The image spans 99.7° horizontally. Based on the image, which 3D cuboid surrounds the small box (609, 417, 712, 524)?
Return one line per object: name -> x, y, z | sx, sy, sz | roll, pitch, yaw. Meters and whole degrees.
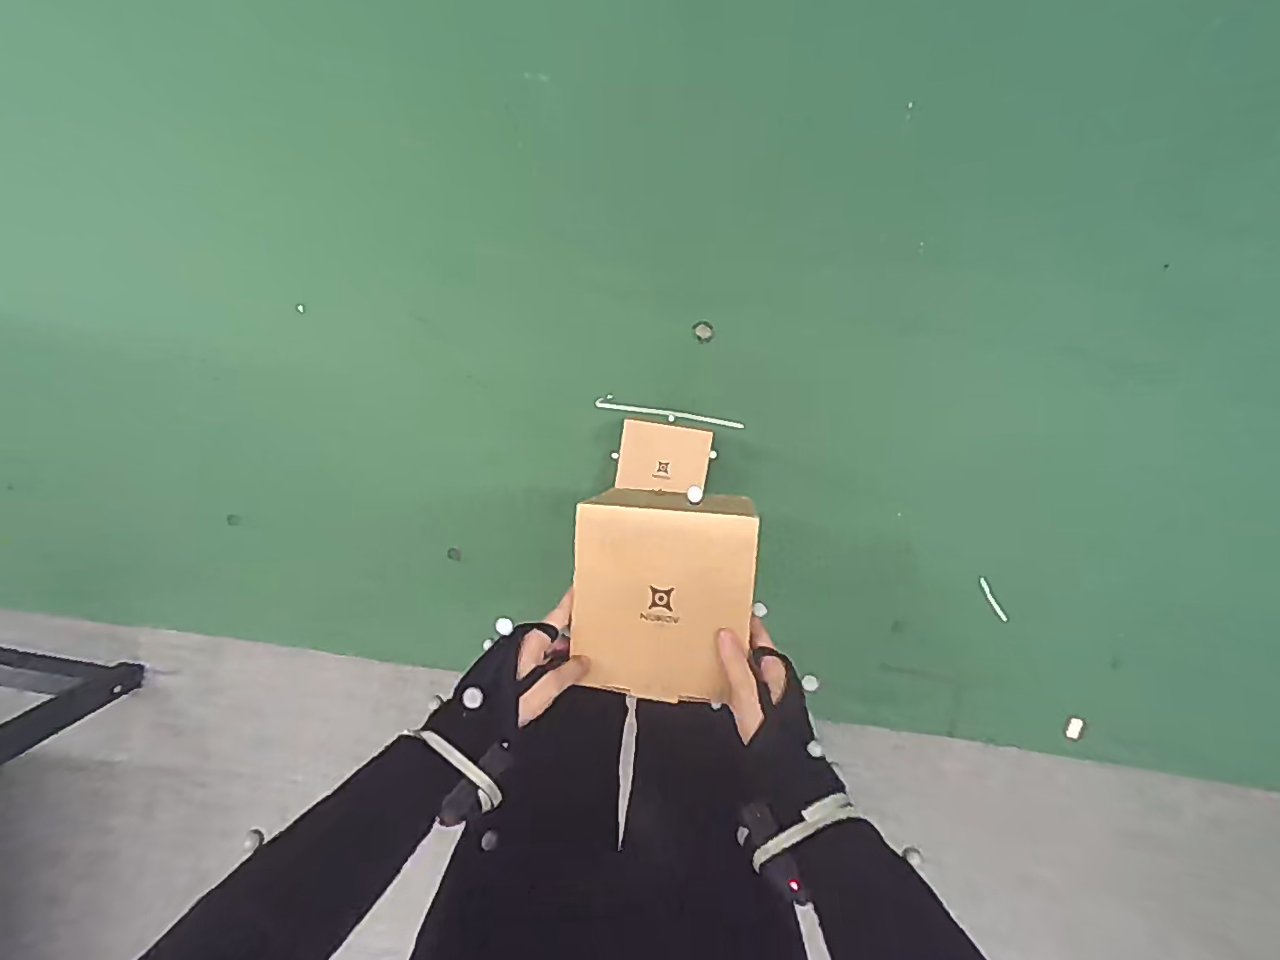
small box -> 0.037, -0.027, 1.069 | 0.168, 0.176, 0.179 | 10, 98, -1
